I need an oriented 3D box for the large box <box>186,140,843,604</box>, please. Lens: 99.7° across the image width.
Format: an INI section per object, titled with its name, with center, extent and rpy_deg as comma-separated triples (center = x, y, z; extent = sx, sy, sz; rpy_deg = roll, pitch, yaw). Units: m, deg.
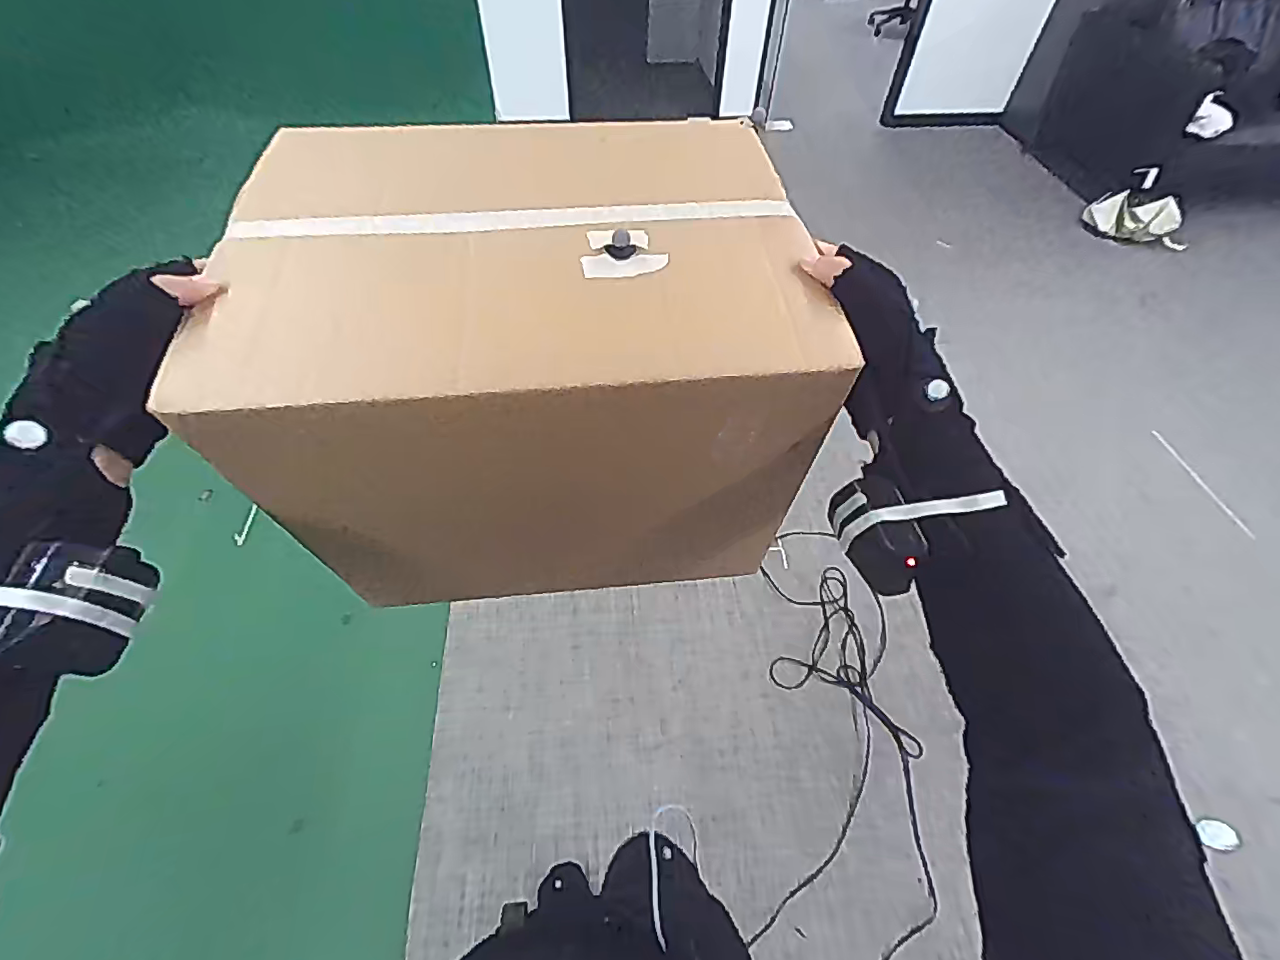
[large box]
center = -0.089, -0.095, 0.530
extent = 0.408, 0.320, 0.320
rpy_deg = -4, 58, -5
